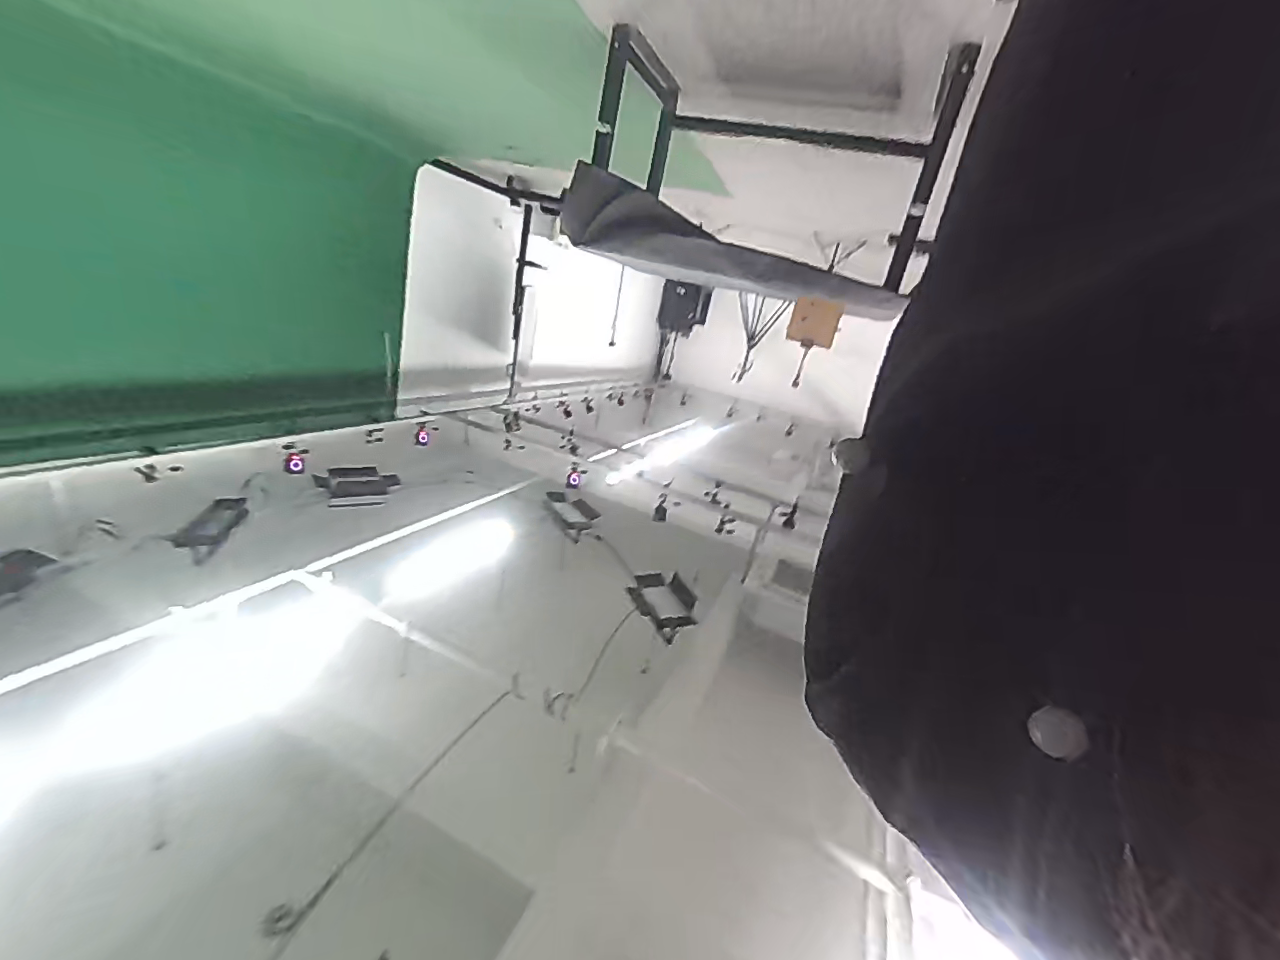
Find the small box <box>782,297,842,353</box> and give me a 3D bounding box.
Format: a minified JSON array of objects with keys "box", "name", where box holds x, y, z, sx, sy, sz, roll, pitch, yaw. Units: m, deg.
[{"box":[0.630,-0.568,1.976,0.168,0.176,0.179,19,-160,14],"name":"small box"}]
